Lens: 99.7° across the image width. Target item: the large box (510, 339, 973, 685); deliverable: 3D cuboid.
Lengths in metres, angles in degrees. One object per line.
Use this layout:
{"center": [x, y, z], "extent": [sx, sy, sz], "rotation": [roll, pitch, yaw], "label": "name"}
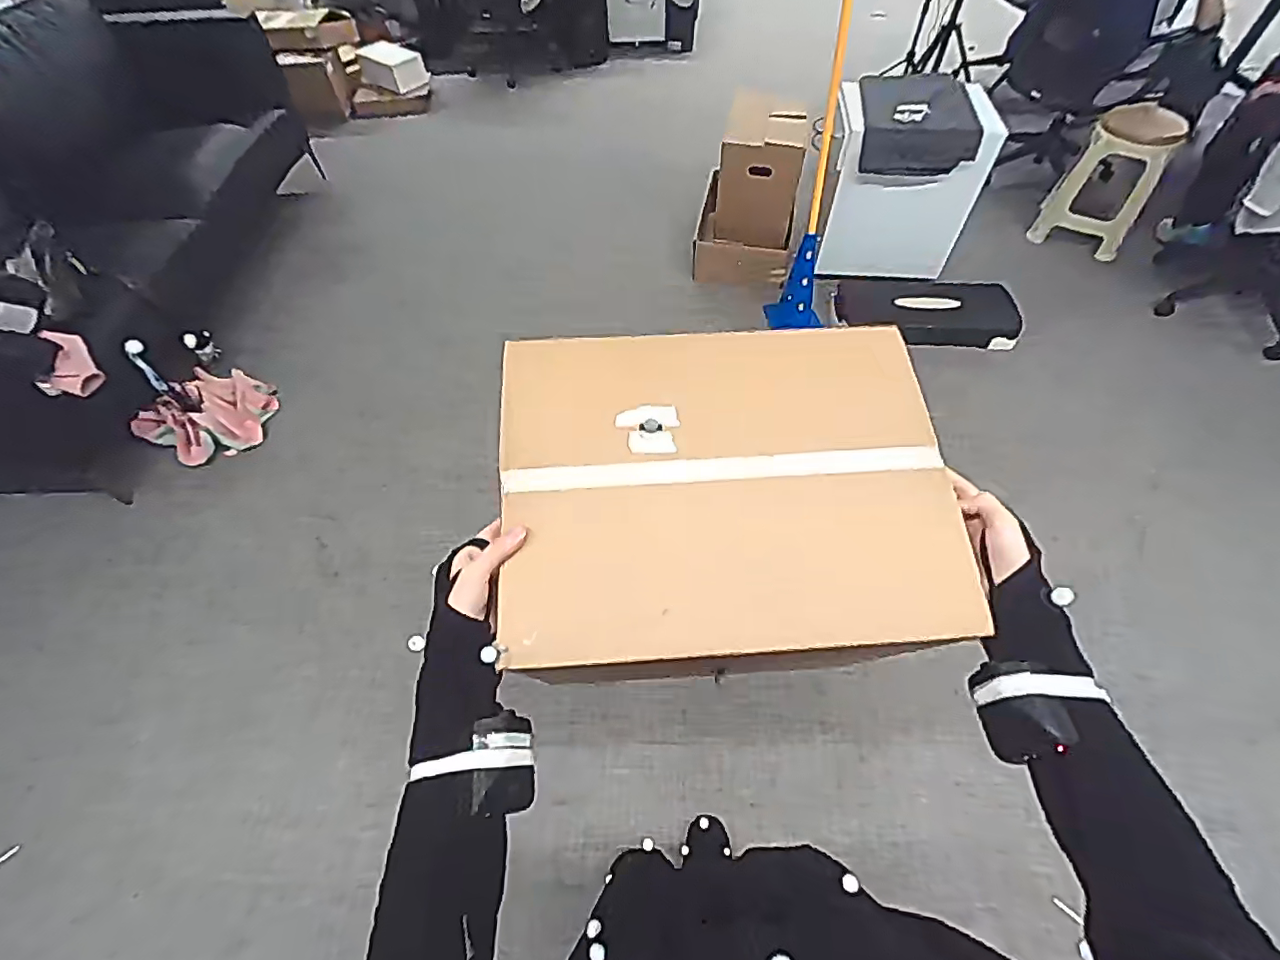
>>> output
{"center": [0.078, 0.062, 0.648], "extent": [0.408, 0.320, 0.320], "rotation": [-4, 66, -2], "label": "large box"}
